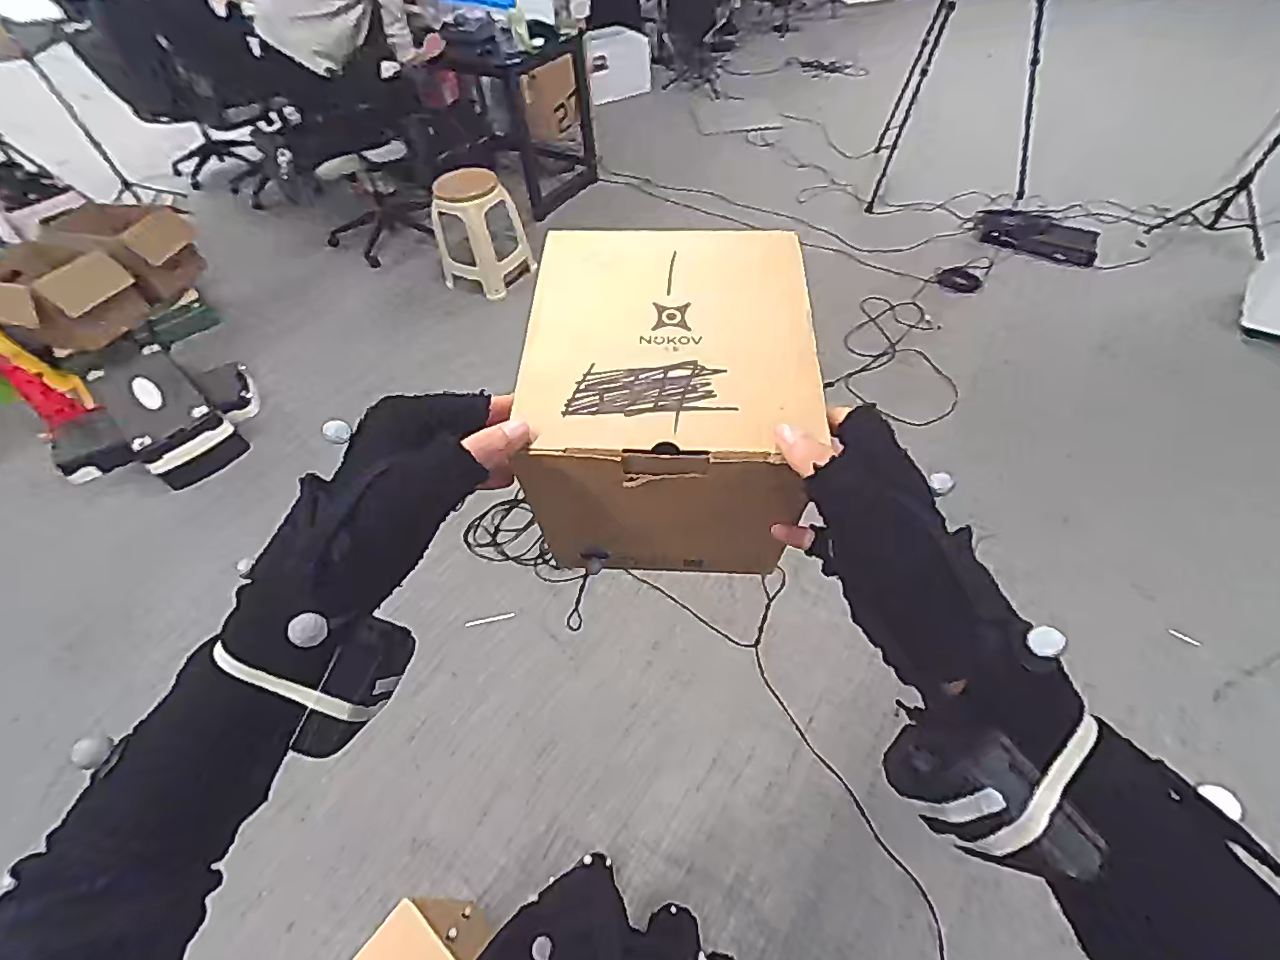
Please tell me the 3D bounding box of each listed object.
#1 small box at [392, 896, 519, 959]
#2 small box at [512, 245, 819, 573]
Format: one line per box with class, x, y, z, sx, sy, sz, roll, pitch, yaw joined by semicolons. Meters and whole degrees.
small box;-0.360;0.953;1.044;0.179;0.176;0.168;32;61;26
small box;0.021;-0.042;0.391;0.168;0.176;0.179;2;60;3
